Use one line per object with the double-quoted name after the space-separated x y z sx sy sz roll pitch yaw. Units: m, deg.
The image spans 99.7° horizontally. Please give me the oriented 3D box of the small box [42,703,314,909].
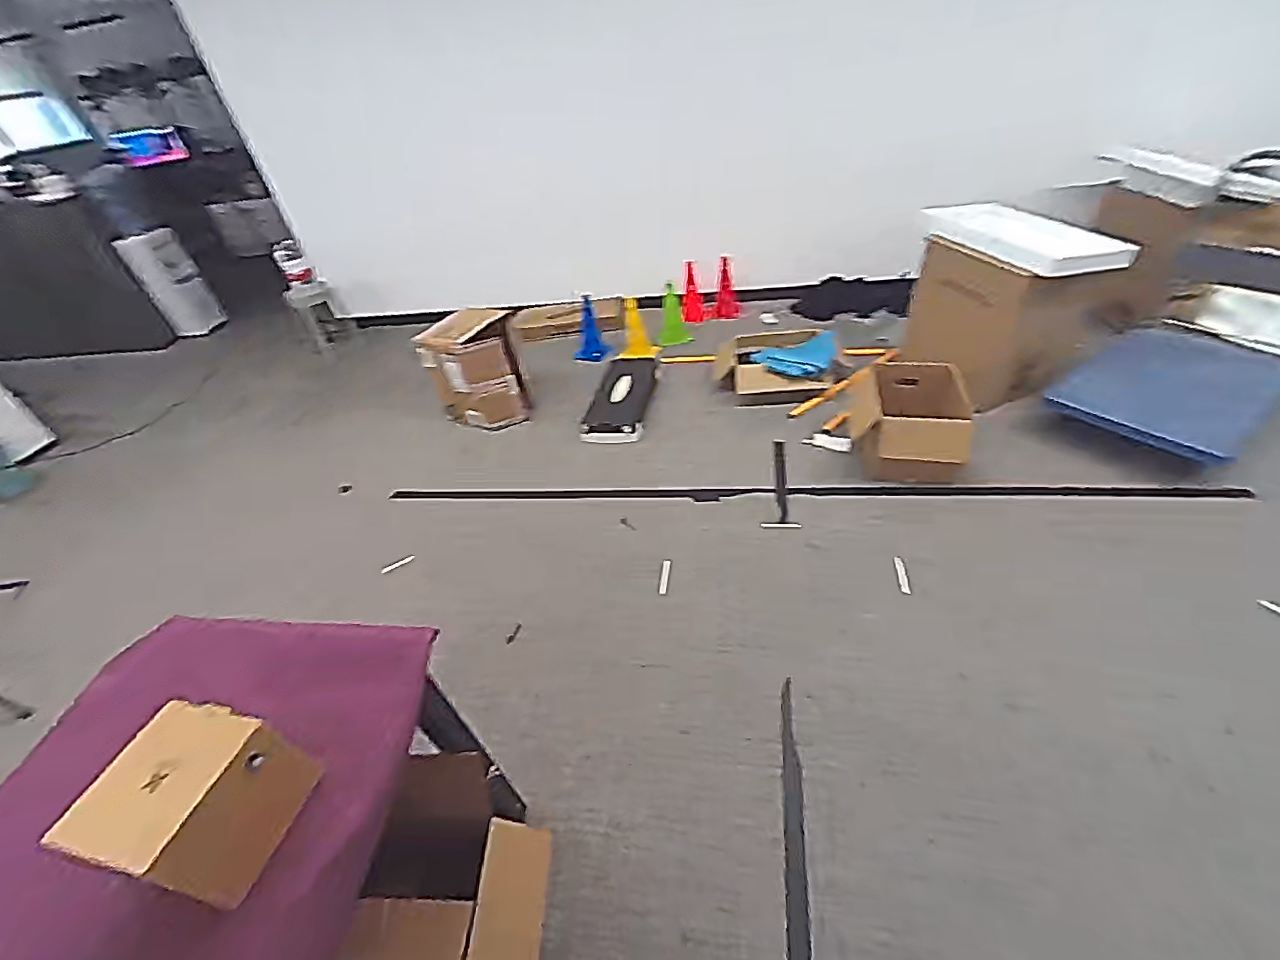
-0.579 0.426 0.710 0.168 0.176 0.179 3 41 15 "small box"
